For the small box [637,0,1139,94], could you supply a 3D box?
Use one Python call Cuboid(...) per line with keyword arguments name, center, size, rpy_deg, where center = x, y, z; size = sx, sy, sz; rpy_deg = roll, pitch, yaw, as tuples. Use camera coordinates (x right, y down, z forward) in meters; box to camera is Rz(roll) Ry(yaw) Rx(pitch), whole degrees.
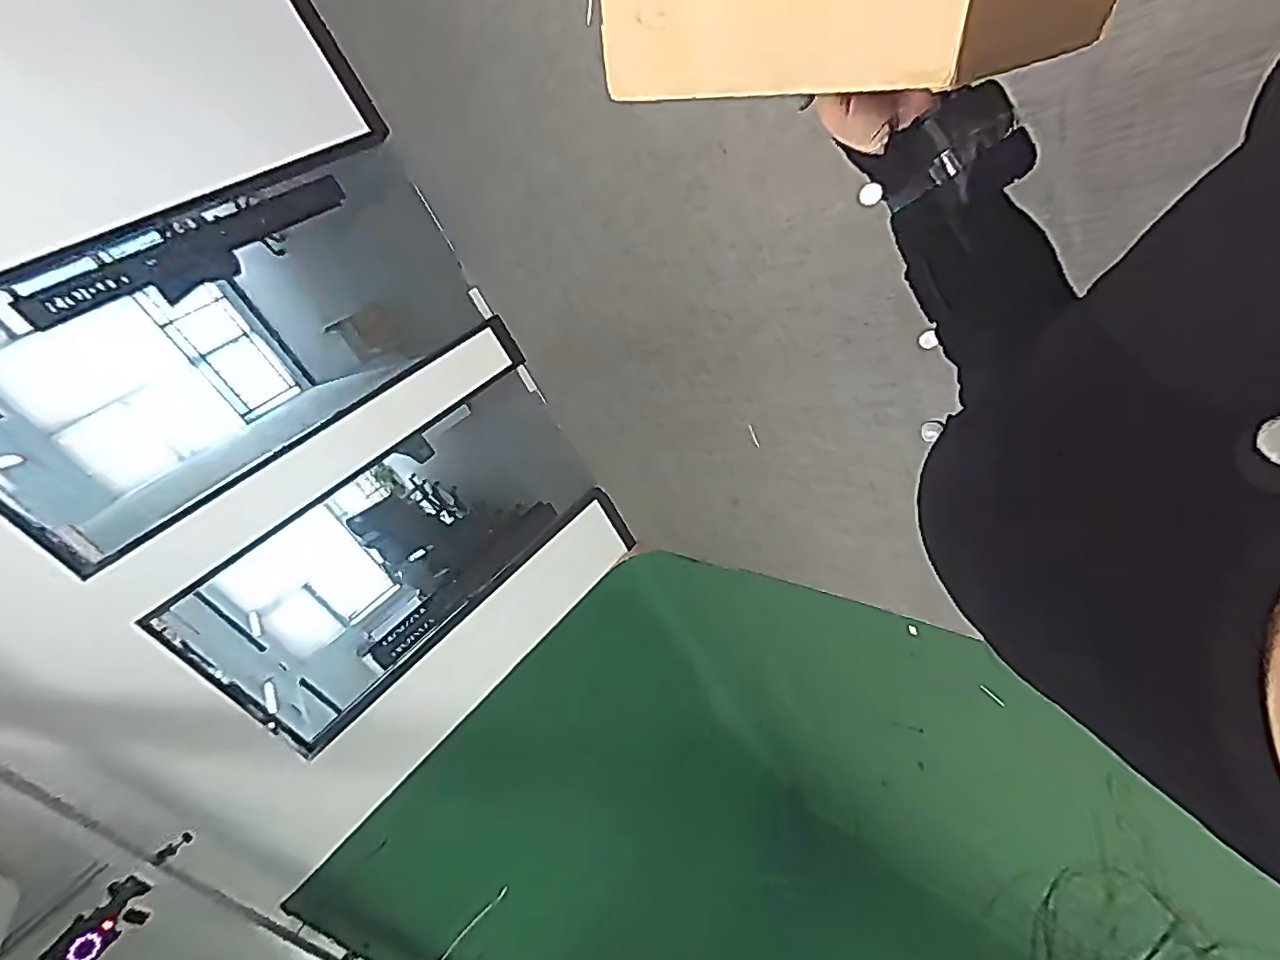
Cuboid(name="small box", center=(0.111, -0.271, 0.225), size=(0.179, 0.176, 0.168), rpy_deg=(30, 143, 38))
